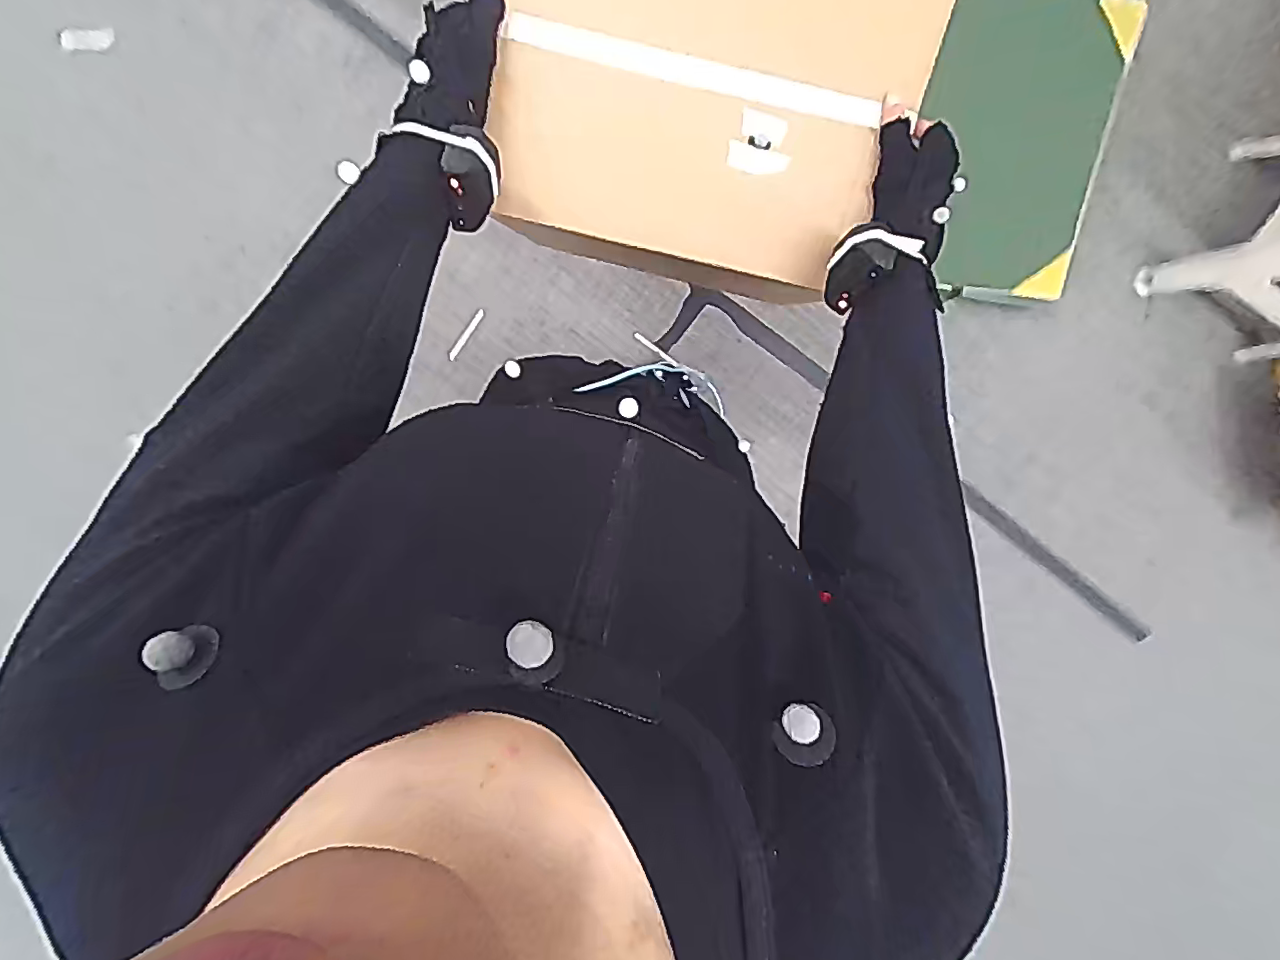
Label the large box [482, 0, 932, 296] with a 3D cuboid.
[{"bbox_3d":[0.057,-0.424,0.664,0.408,0.320,0.320,11,108,-3],"label":"large box"}]
